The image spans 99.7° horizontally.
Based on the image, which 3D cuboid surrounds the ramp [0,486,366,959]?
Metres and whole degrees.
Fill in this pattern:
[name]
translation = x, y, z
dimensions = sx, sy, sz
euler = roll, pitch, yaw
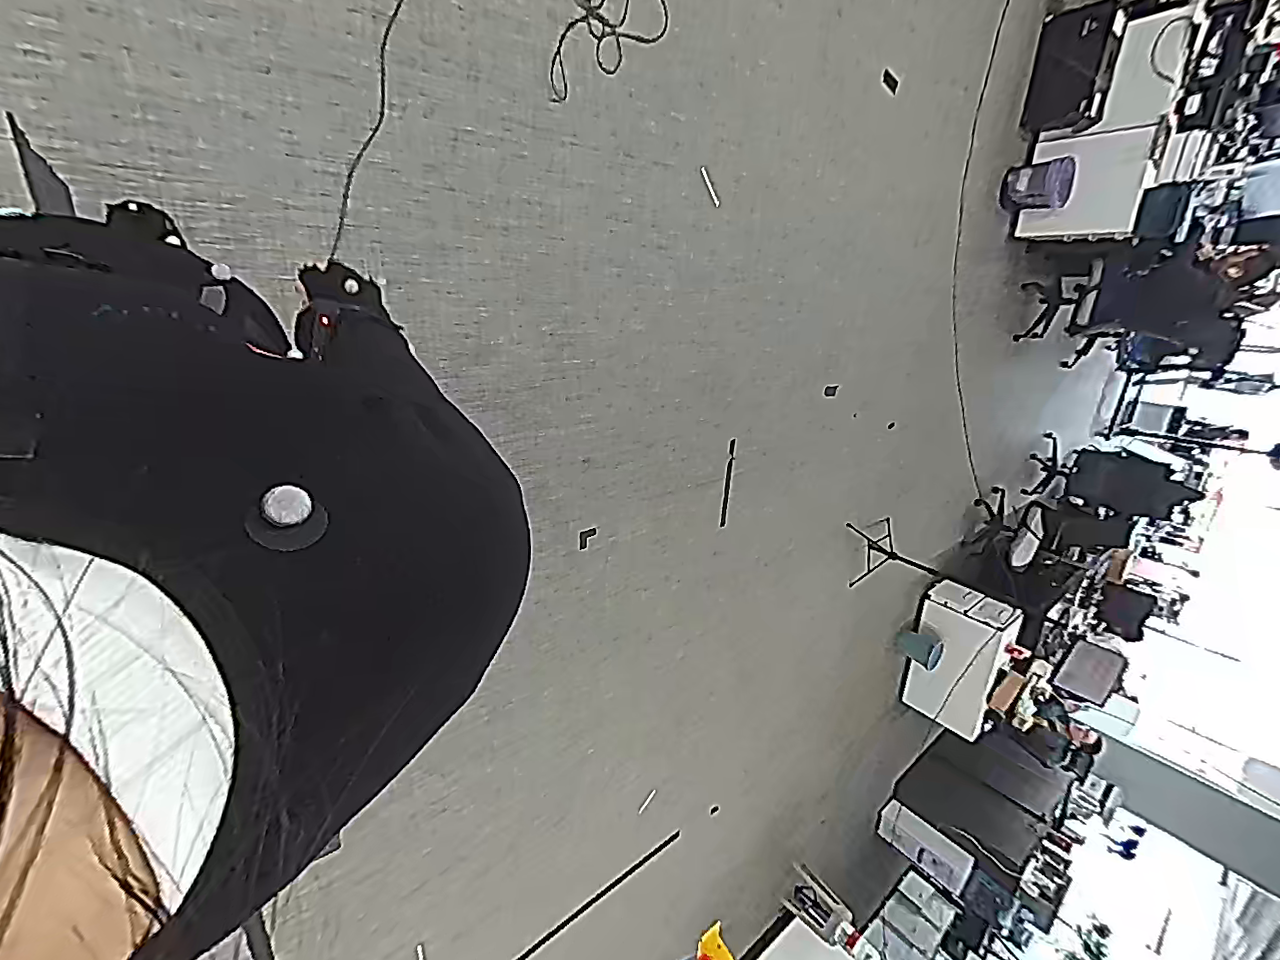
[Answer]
[ramp]
translation = -0.972, 0.541, 1.232
dimensions = 0.509, 0.206, 0.991
euler = -13, 113, -35
